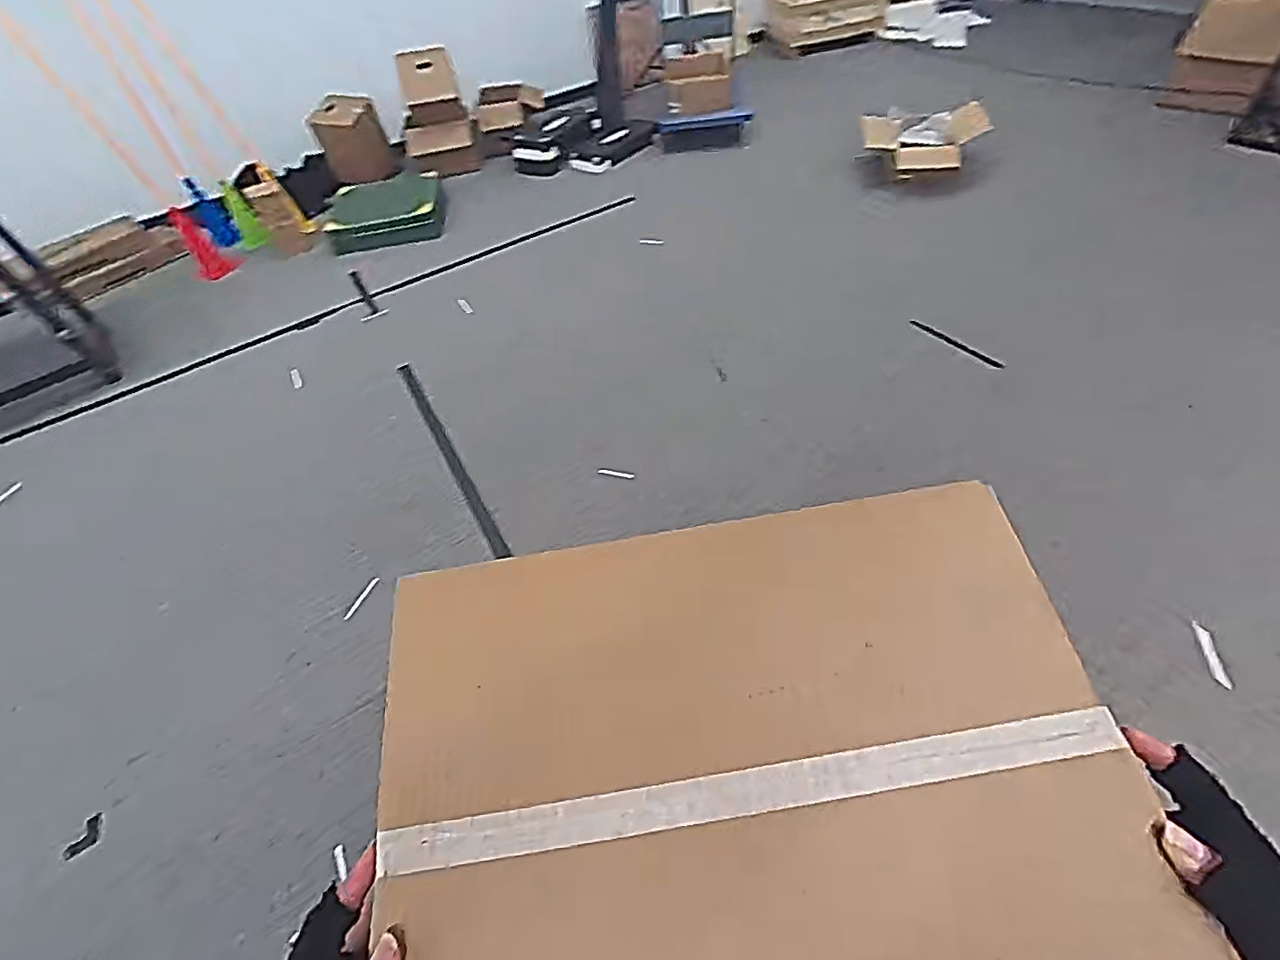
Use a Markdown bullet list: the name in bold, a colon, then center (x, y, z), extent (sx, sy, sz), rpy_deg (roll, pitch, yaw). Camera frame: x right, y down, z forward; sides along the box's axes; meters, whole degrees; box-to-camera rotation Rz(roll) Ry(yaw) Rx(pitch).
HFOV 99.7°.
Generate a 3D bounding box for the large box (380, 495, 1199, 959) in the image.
- **large box**: center (0.068, 0.247, 0.432), extent (0.408, 0.320, 0.320), rpy_deg (-11, 61, 0)
